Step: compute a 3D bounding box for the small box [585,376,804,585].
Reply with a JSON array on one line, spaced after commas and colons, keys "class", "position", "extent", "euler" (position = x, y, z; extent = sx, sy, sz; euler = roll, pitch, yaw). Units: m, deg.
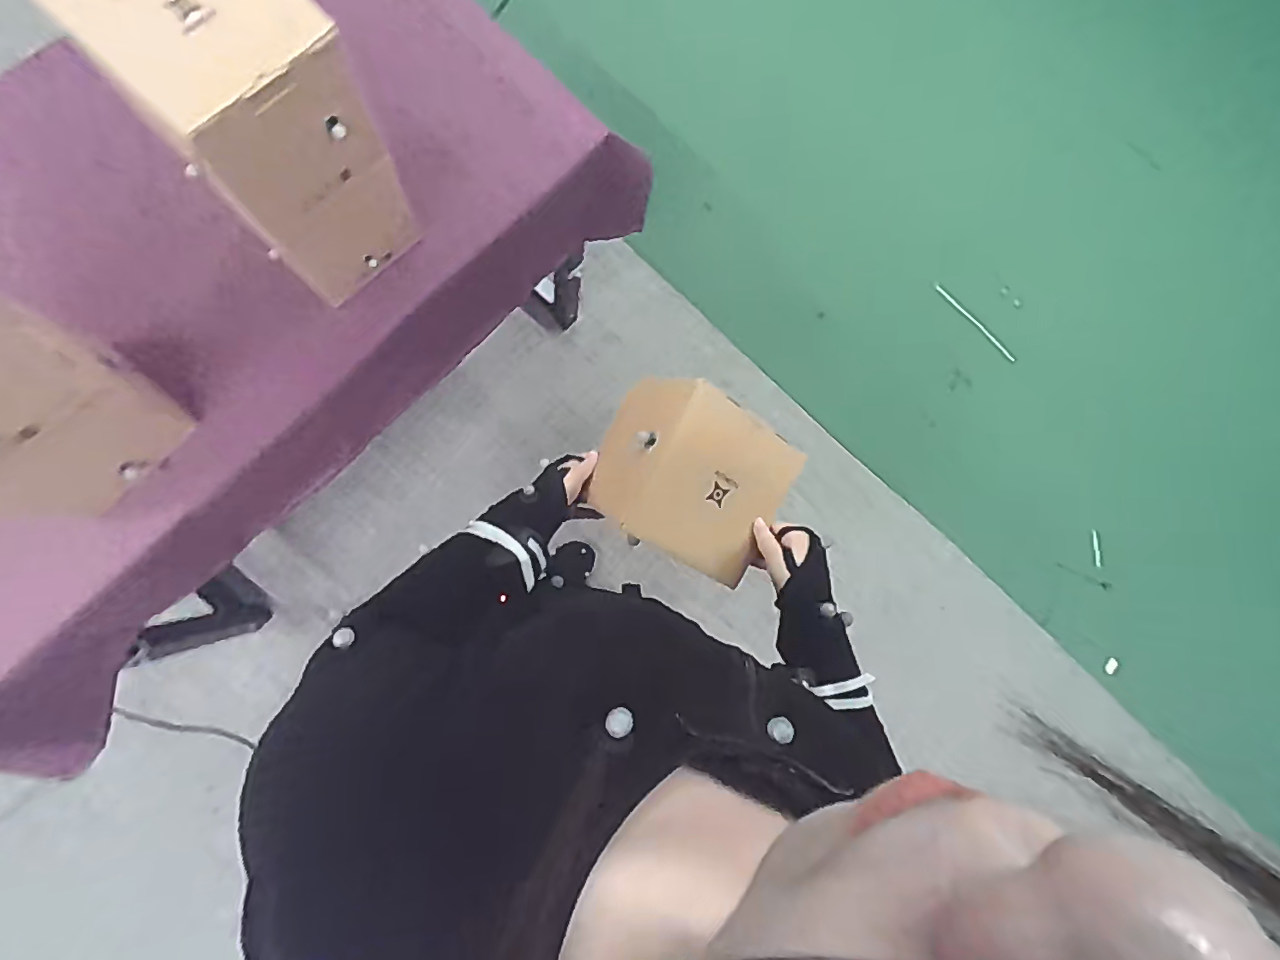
[{"class": "small box", "position": [0.052, -0.007, 0.646], "extent": [0.168, 0.176, 0.179], "euler": [30, 88, -26]}]

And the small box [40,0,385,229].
[{"class": "small box", "position": [-0.393, -0.387, 0.540], "extent": [0.179, 0.176, 0.168], "euler": [43, 78, -2]}]

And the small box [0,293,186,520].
[{"class": "small box", "position": [-0.682, -0.073, 0.620], "extent": [0.168, 0.176, 0.179], "euler": [41, 78, -2]}]
